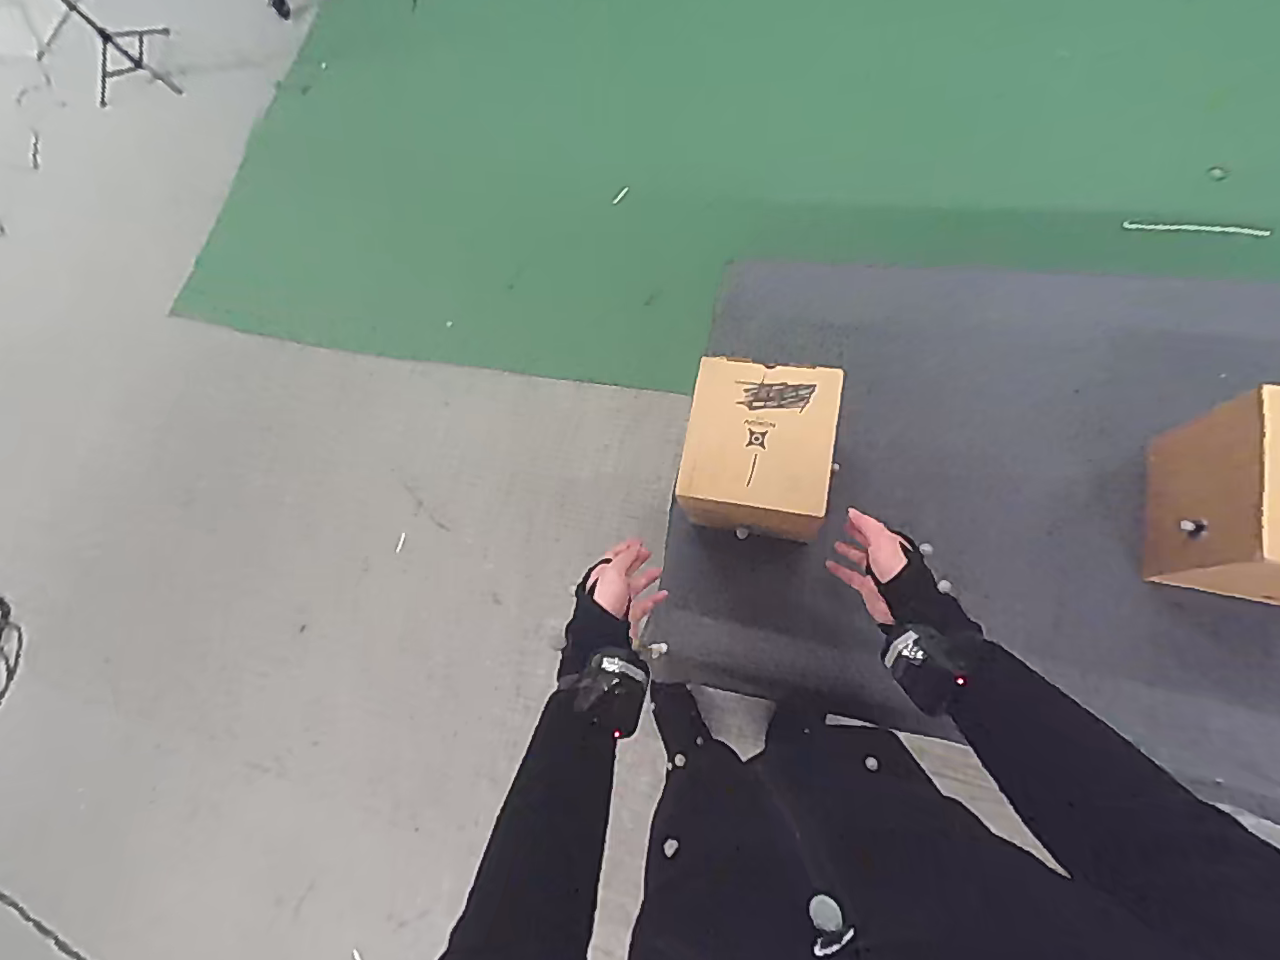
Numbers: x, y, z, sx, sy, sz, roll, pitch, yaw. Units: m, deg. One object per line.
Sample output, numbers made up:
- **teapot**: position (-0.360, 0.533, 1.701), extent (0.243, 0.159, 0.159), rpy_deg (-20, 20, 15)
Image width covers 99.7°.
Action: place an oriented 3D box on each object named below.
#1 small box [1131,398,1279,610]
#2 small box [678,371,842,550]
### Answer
- **small box**: position (0.666, 0.036, 0.569), extent (0.168, 0.176, 0.179), rpy_deg (10, 76, 14)
- **small box**: position (0.152, -0.018, 0.693), extent (0.168, 0.176, 0.179), rpy_deg (8, 77, 14)
